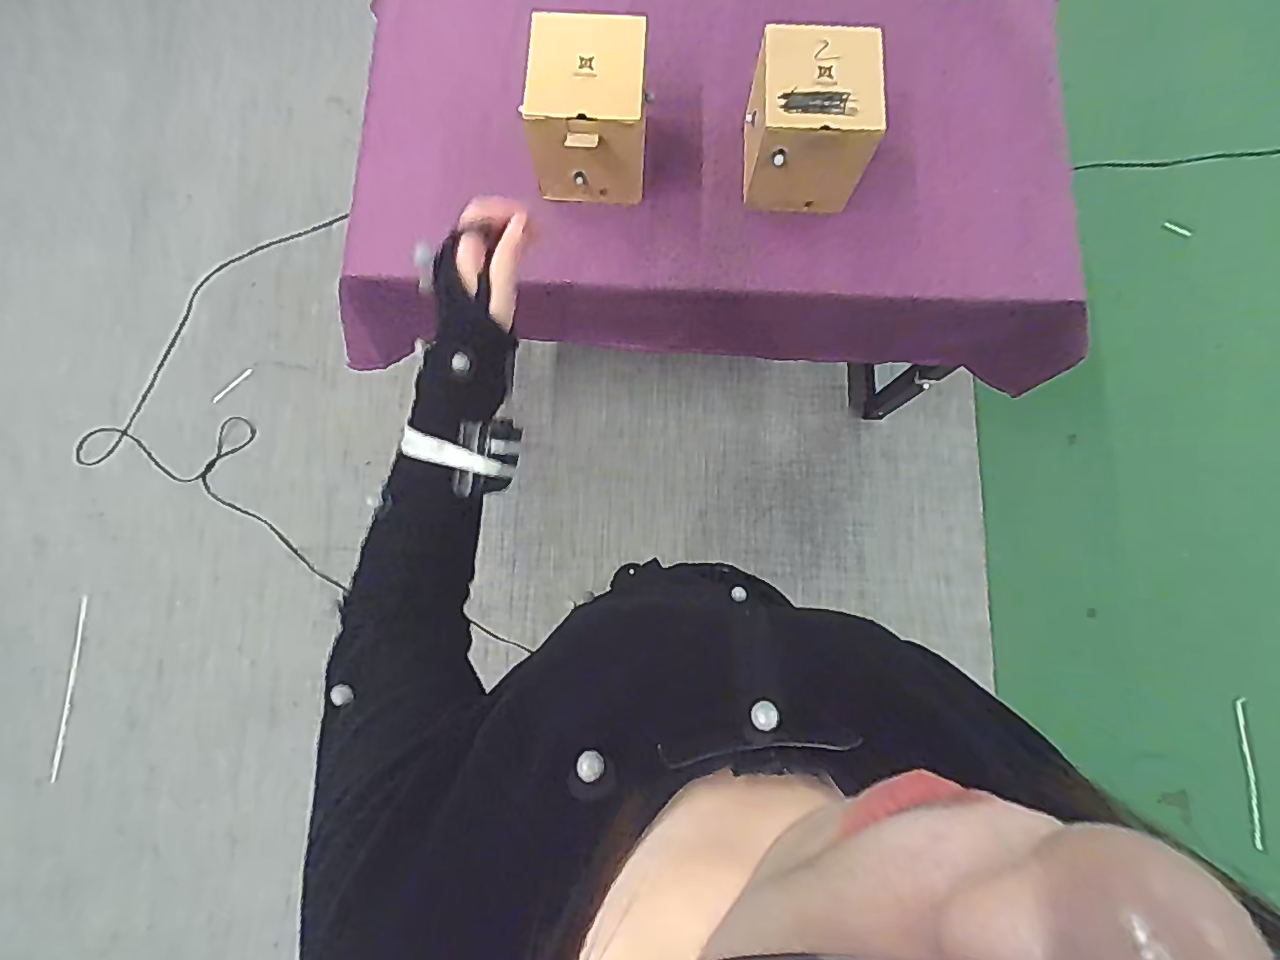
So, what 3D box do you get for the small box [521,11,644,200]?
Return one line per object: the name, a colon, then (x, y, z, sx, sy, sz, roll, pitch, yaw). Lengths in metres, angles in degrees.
small box: (-0.082, -0.577, 0.849, 0.168, 0.176, 0.179, 3, 81, 0)
